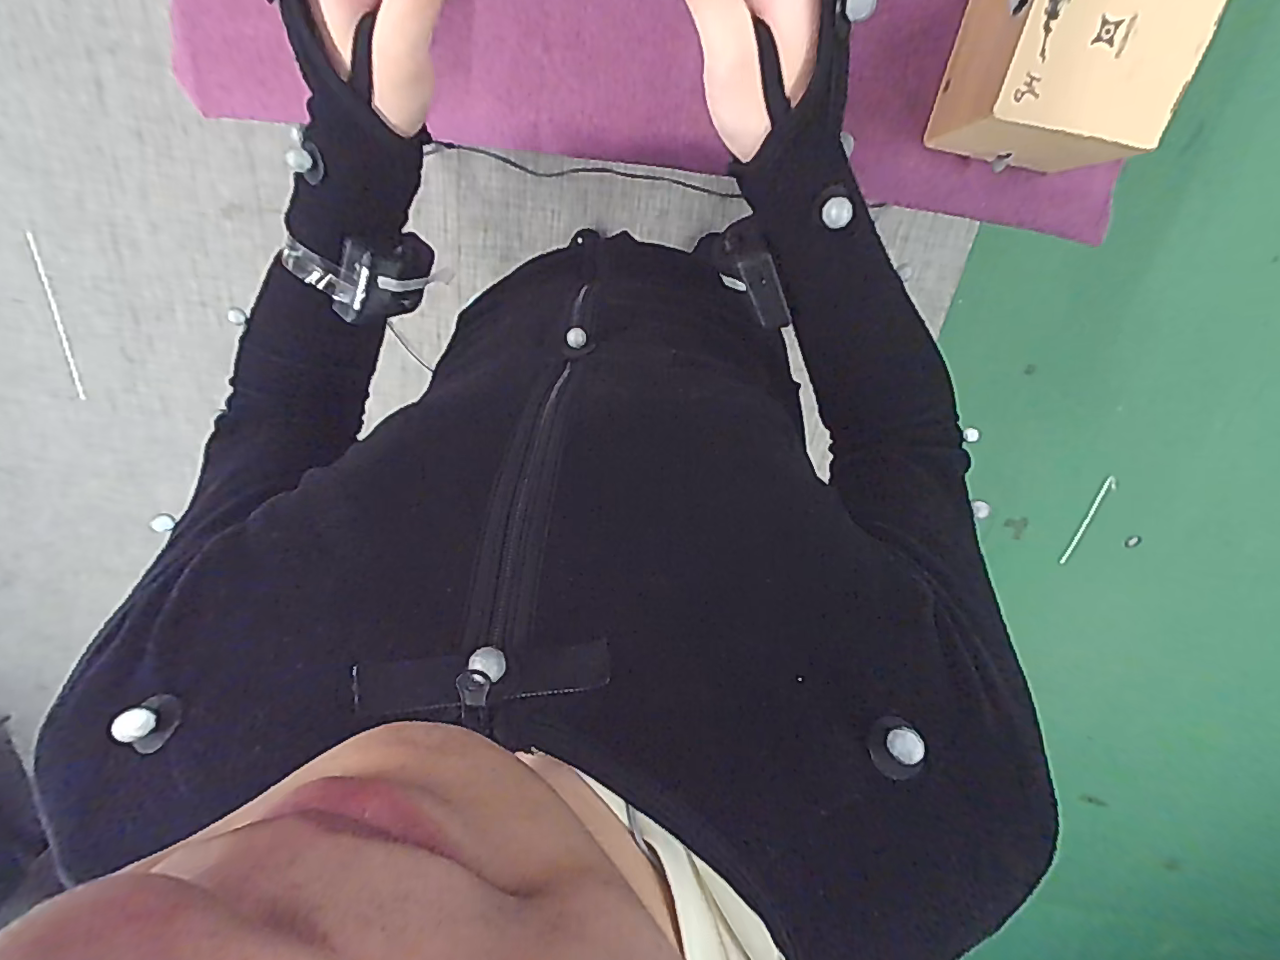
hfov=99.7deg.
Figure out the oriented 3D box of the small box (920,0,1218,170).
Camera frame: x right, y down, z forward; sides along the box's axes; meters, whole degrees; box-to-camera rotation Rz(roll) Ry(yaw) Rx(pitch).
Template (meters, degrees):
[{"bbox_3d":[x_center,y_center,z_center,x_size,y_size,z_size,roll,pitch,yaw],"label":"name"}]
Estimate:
[{"bbox_3d":[0.452,-0.455,0.595,0.179,0.176,0.168,10,112,-2],"label":"small box"}]
